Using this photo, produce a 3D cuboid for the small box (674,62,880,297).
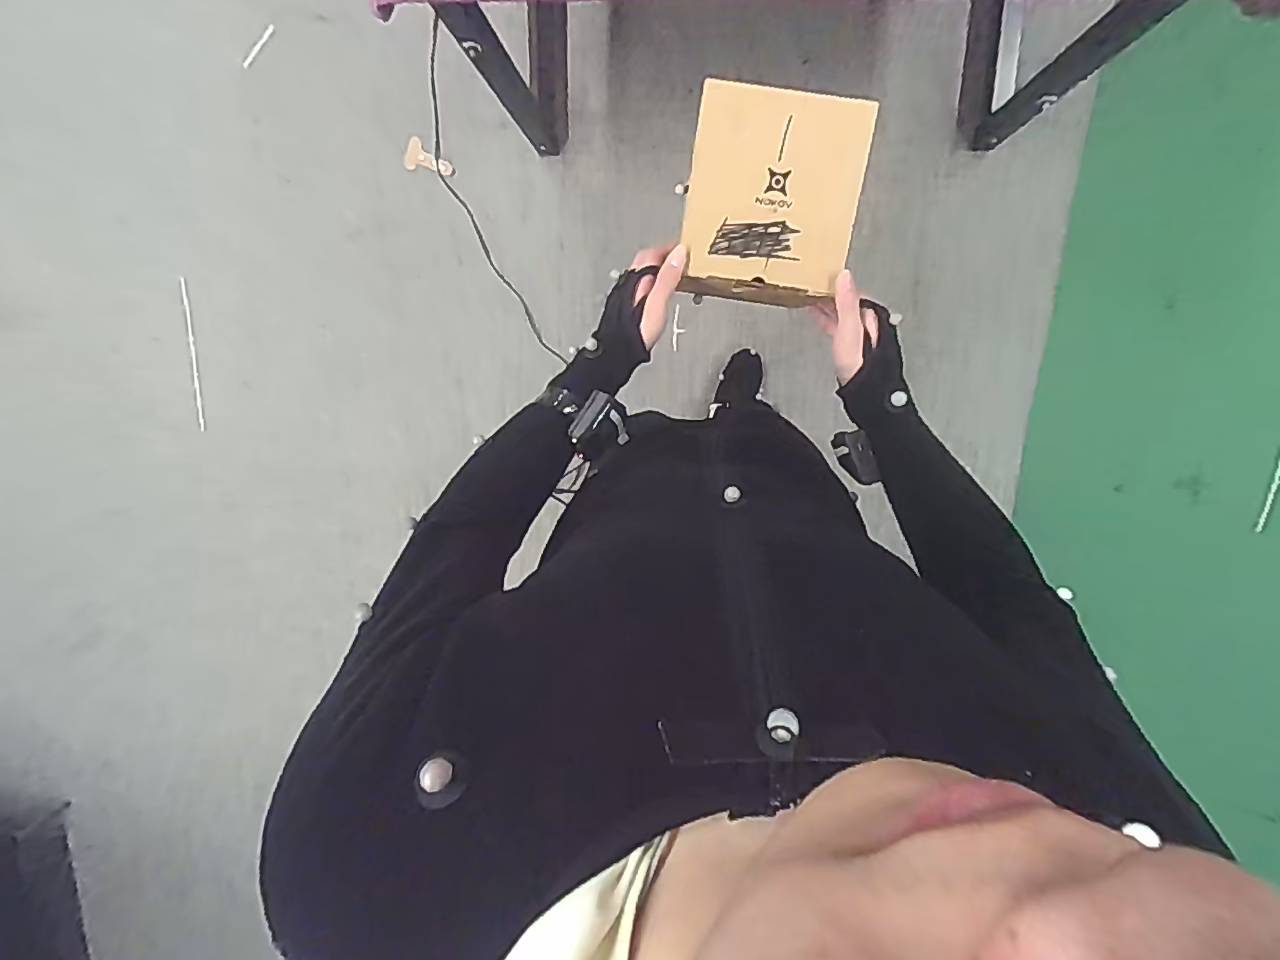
[{"bbox_3d":[0.132,-0.308,0.594,0.168,0.176,0.179,9,103,-1],"label":"small box"}]
